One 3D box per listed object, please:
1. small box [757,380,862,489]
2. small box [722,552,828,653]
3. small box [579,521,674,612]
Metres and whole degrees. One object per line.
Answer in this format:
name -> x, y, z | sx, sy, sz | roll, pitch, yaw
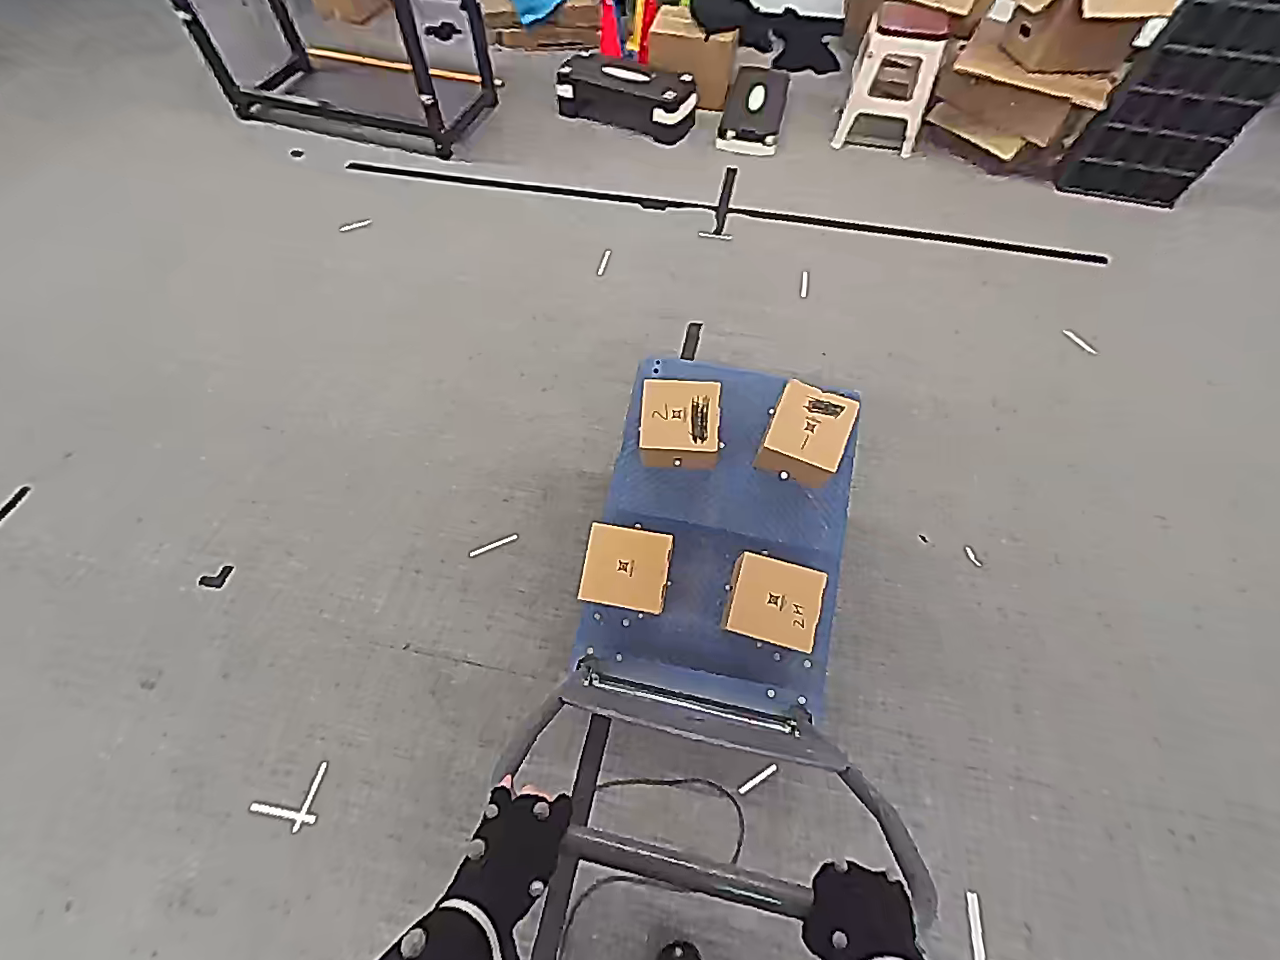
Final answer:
small box -> 0.384, -0.100, 1.258 | 0.168, 0.176, 0.179 | 23, 79, 8
small box -> 0.283, 0.266, 1.172 | 0.179, 0.176, 0.168 | 16, 78, 7
small box -> -0.025, 0.199, 1.206 | 0.179, 0.176, 0.168 | 10, 77, 4
